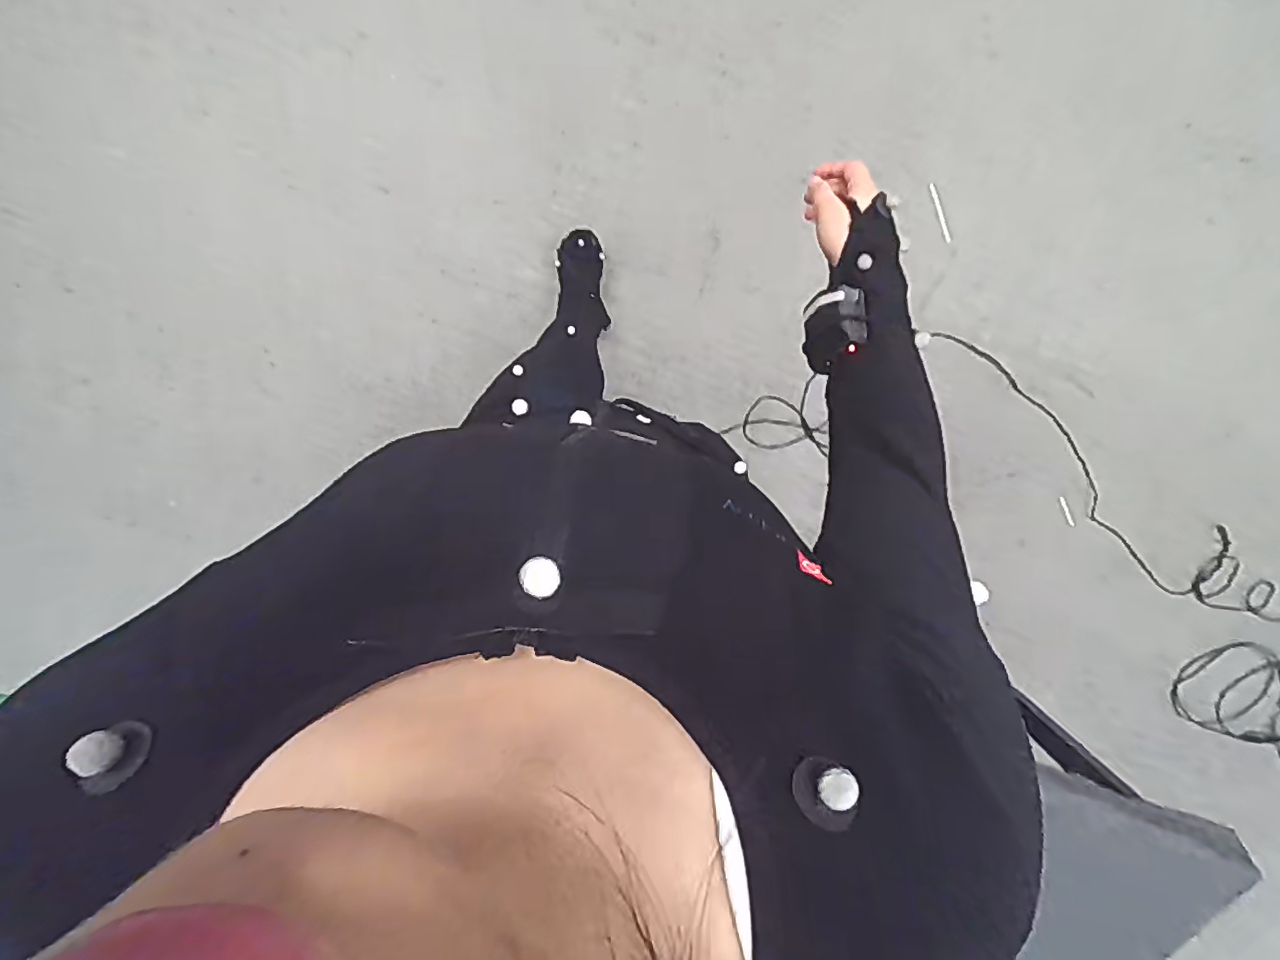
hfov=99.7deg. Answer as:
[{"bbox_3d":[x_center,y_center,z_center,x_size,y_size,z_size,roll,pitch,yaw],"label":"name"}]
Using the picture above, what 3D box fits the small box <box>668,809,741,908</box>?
[{"bbox_3d":[0.189,1.149,1.652,0.179,0.176,0.168,16,103,-4],"label":"small box"}]
